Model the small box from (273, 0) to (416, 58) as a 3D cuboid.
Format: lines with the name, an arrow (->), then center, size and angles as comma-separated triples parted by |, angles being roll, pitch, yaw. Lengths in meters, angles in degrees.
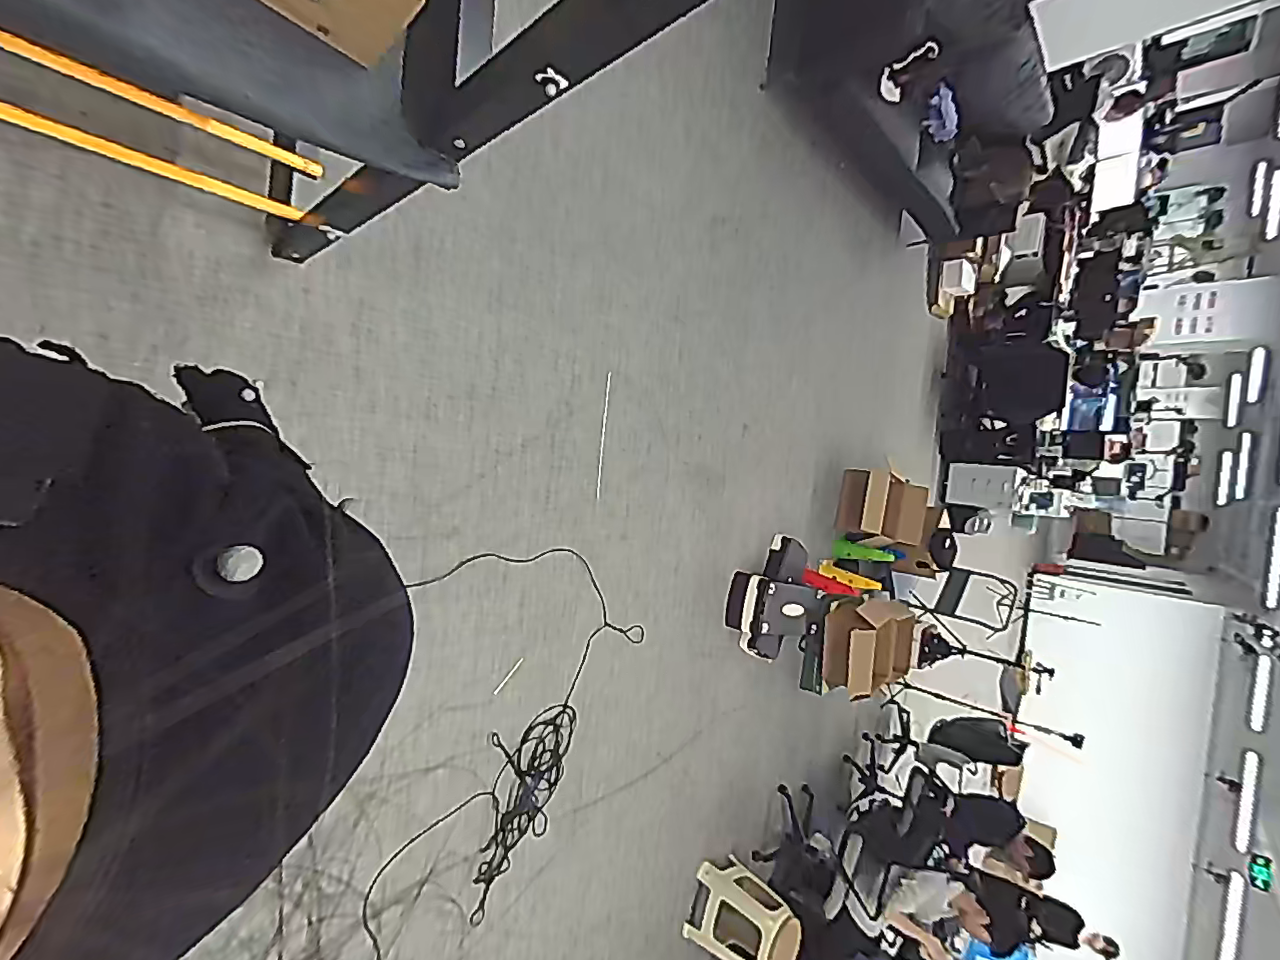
small box -> -0.342, -0.624, 0.592 | 0.168, 0.176, 0.179 | 10, 87, -47
